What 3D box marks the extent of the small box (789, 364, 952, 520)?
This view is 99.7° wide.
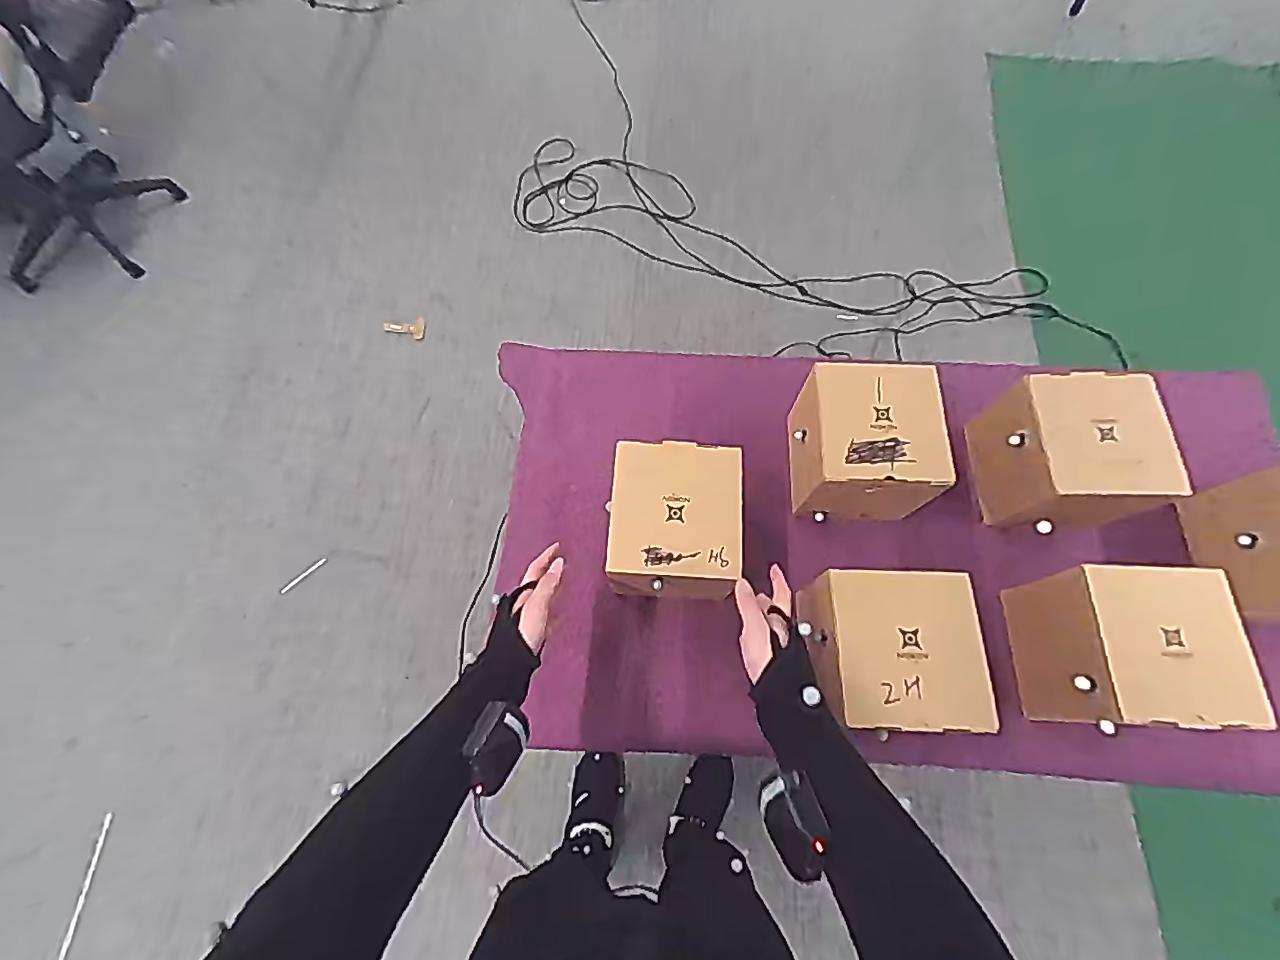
[{"bbox_3d":[0.321,-0.047,0.789,0.168,0.176,0.179,3,69,1],"label":"small box"}]

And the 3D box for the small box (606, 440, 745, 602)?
[{"bbox_3d":[0.048,0.063,0.749,0.168,0.176,0.179,4,69,3],"label":"small box"}]

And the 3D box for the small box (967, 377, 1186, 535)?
[{"bbox_3d":[0.606,-0.029,0.781,0.168,0.176,0.179,1,70,2],"label":"small box"}]

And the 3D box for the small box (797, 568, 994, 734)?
[{"bbox_3d":[0.304,0.219,0.688,0.168,0.176,0.179,2,69,2],"label":"small box"}]

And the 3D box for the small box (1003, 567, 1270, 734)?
[{"bbox_3d":[0.601,0.218,0.688,0.168,0.176,0.179,2,69,2],"label":"small box"}]
